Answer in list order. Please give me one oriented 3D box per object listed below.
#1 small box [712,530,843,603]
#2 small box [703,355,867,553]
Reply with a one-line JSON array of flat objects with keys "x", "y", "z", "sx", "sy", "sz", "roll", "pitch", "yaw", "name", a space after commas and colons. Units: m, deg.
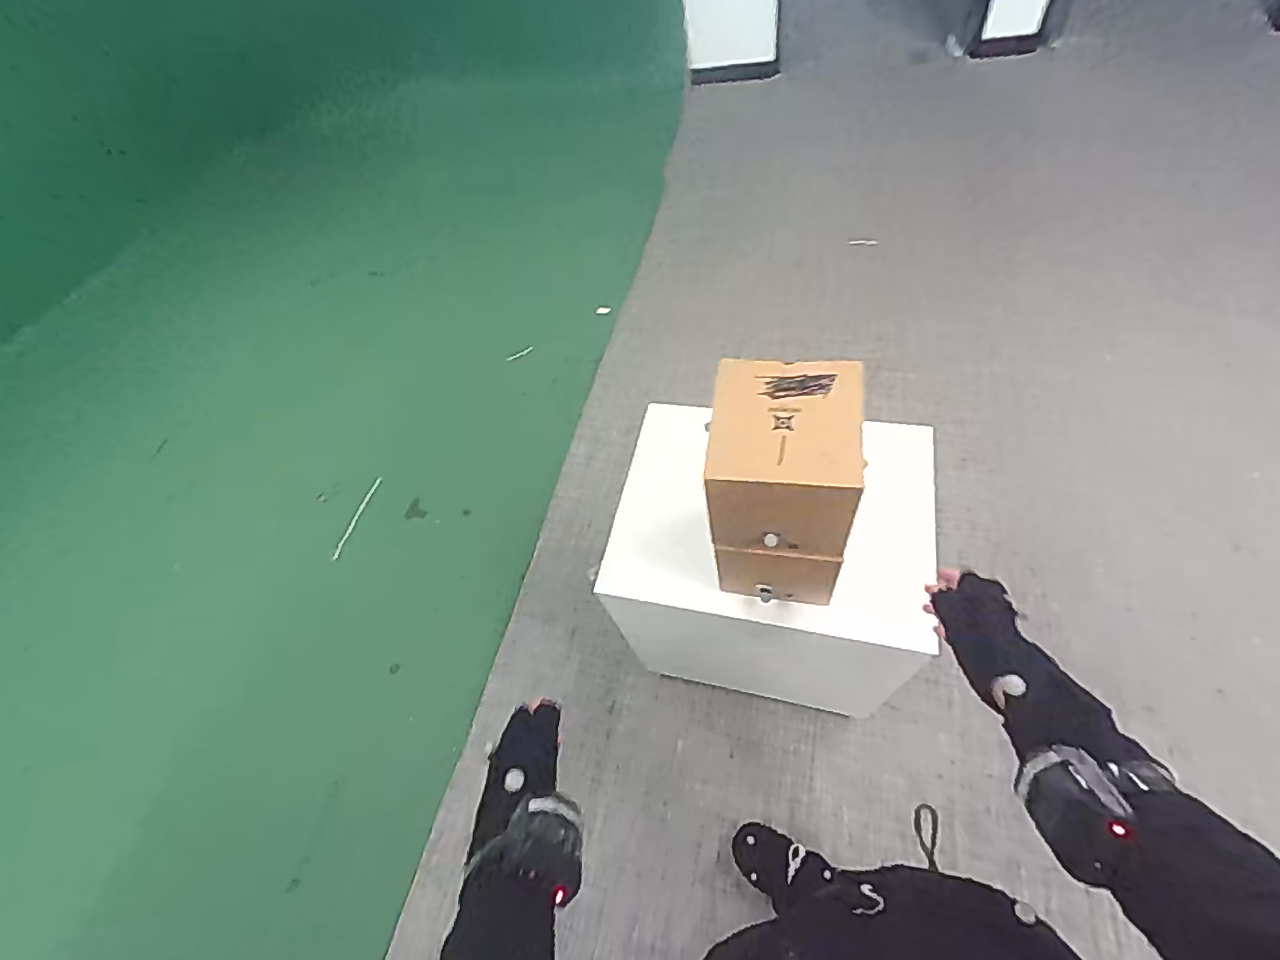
[{"x": 0.203, "y": 0.062, "z": 0.791, "sx": 0.168, "sy": 0.176, "sz": 0.179, "roll": 3, "pitch": 60, "yaw": 16, "name": "small box"}, {"x": 0.171, "y": -0.030, "z": 0.659, "sx": 0.168, "sy": 0.176, "sz": 0.179, "roll": 1, "pitch": 57, "yaw": 14, "name": "small box"}]
